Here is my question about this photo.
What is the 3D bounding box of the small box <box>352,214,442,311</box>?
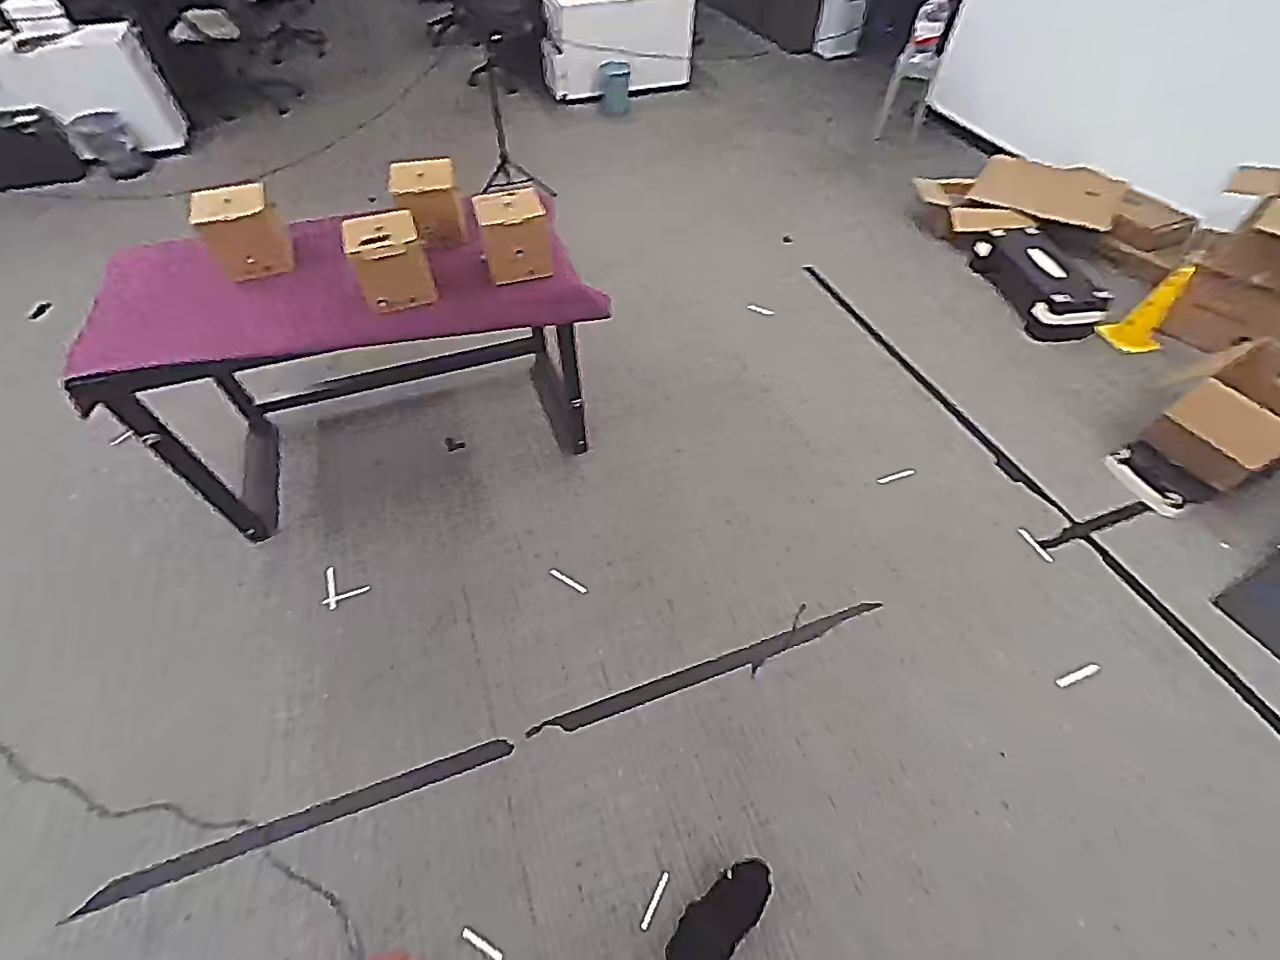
[{"bbox_3d":[-0.628,-0.559,1.407,0.168,0.176,0.179,-17,54,-13],"label":"small box"}]

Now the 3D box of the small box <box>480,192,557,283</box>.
[{"bbox_3d":[-0.330,-0.657,1.484,0.168,0.176,0.179,-14,52,-10],"label":"small box"}]

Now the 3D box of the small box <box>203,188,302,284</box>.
[{"bbox_3d":[-1.058,-0.671,1.490,0.168,0.176,0.179,-18,56,-14],"label":"small box"}]

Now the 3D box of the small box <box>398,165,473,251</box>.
[{"bbox_3d":[-0.599,-0.800,1.596,0.168,0.176,0.179,-11,55,-8],"label":"small box"}]
